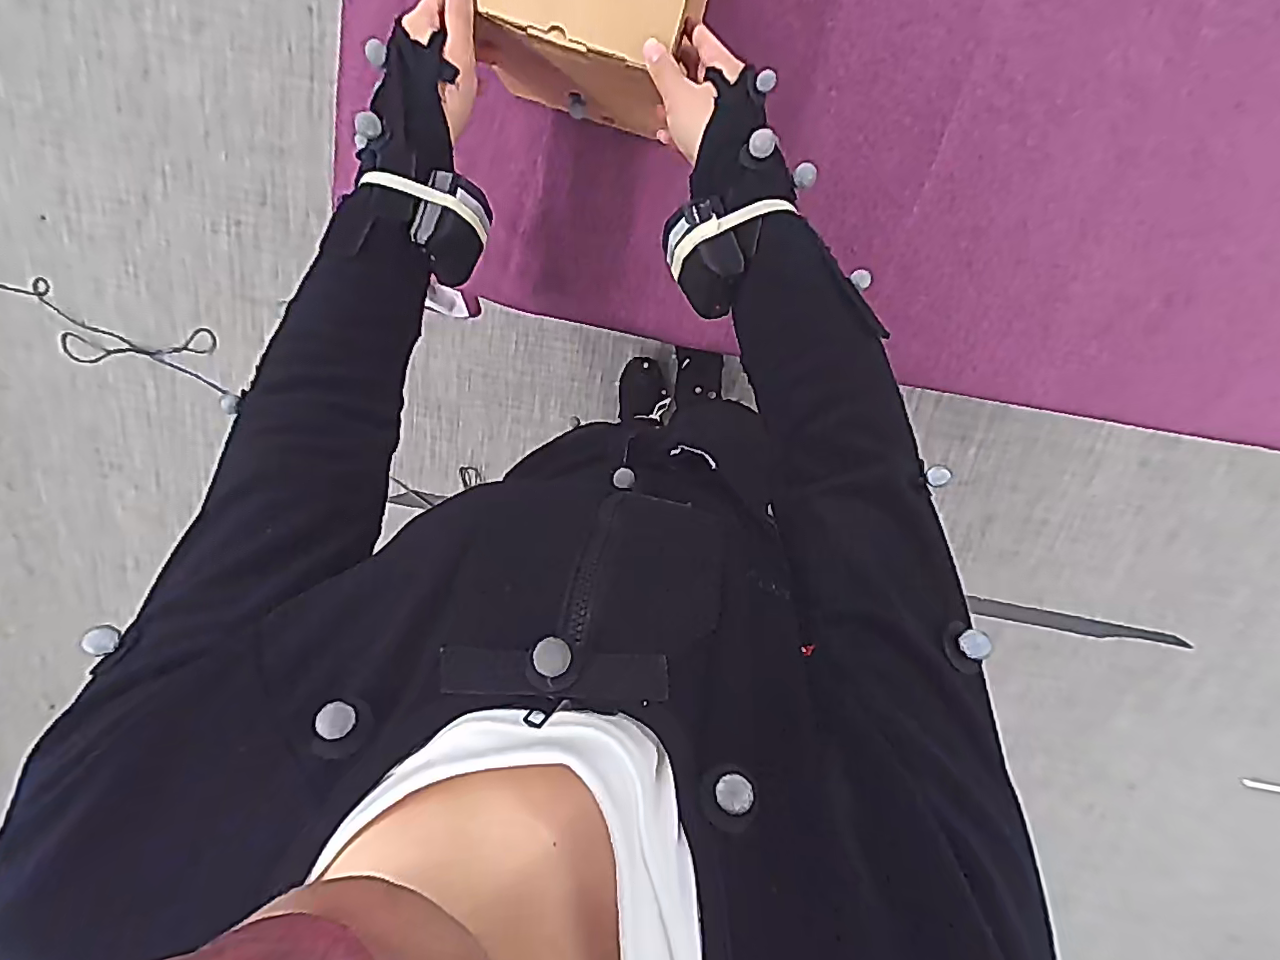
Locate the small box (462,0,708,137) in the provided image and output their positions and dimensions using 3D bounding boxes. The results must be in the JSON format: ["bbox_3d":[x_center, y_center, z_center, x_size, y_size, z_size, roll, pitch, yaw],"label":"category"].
[{"bbox_3d":[-0.029,-0.419,0.437,0.168,0.176,0.179,17,107,-2],"label":"small box"}]
